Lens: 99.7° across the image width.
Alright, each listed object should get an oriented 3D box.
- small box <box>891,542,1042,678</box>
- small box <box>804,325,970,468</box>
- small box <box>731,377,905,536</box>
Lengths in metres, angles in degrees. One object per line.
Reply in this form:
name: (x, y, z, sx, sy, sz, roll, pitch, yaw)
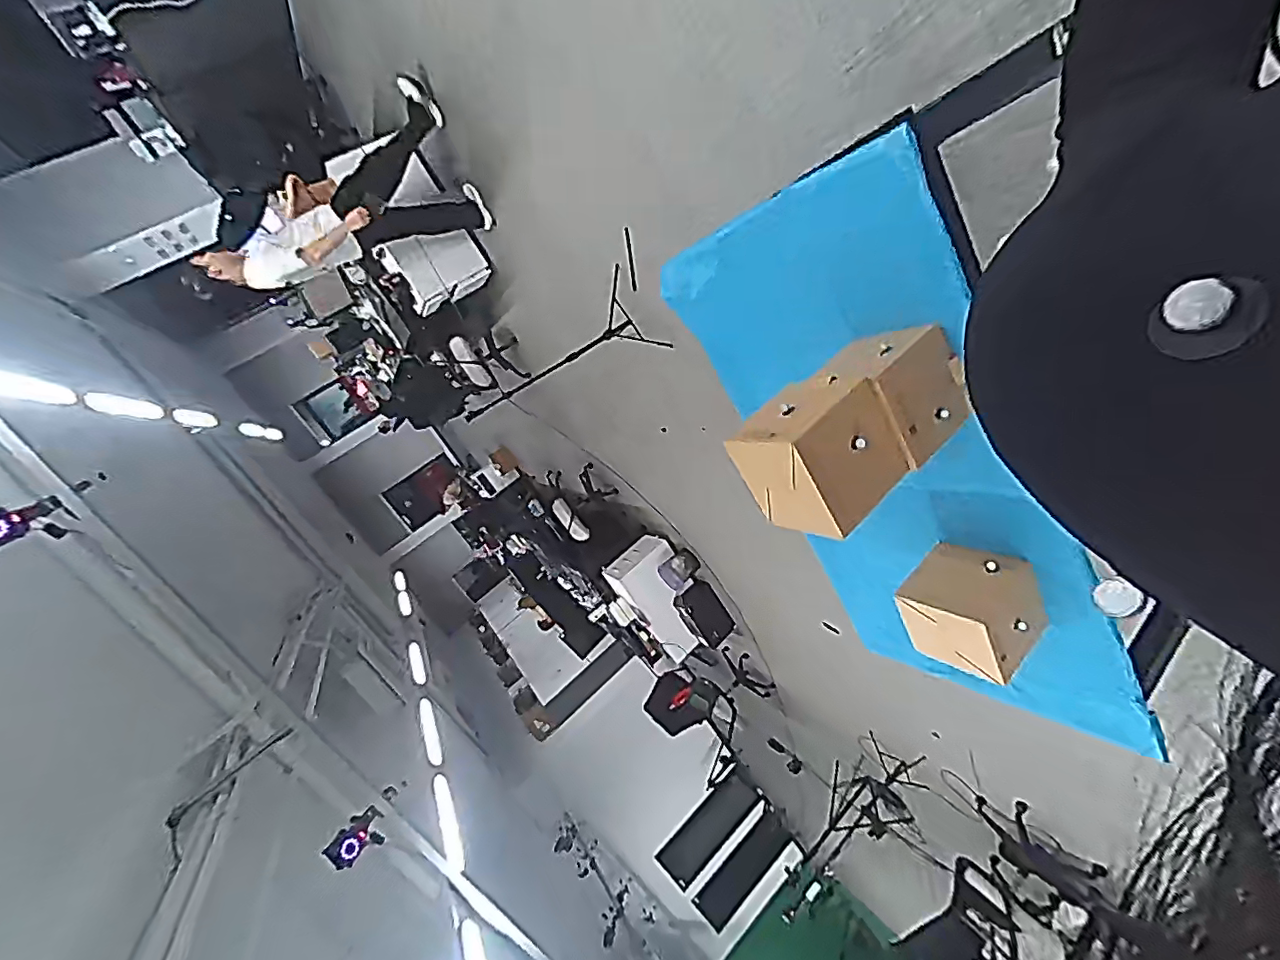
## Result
small box: (0.631, 0.249, 1.052, 0.179, 0.176, 0.168, 12, 136, 60)
small box: (0.396, -0.129, 0.902, 0.168, 0.176, 0.179, 57, 160, -17)
small box: (0.270, -0.037, 0.852, 0.179, 0.176, 0.168, 55, 162, -19)
